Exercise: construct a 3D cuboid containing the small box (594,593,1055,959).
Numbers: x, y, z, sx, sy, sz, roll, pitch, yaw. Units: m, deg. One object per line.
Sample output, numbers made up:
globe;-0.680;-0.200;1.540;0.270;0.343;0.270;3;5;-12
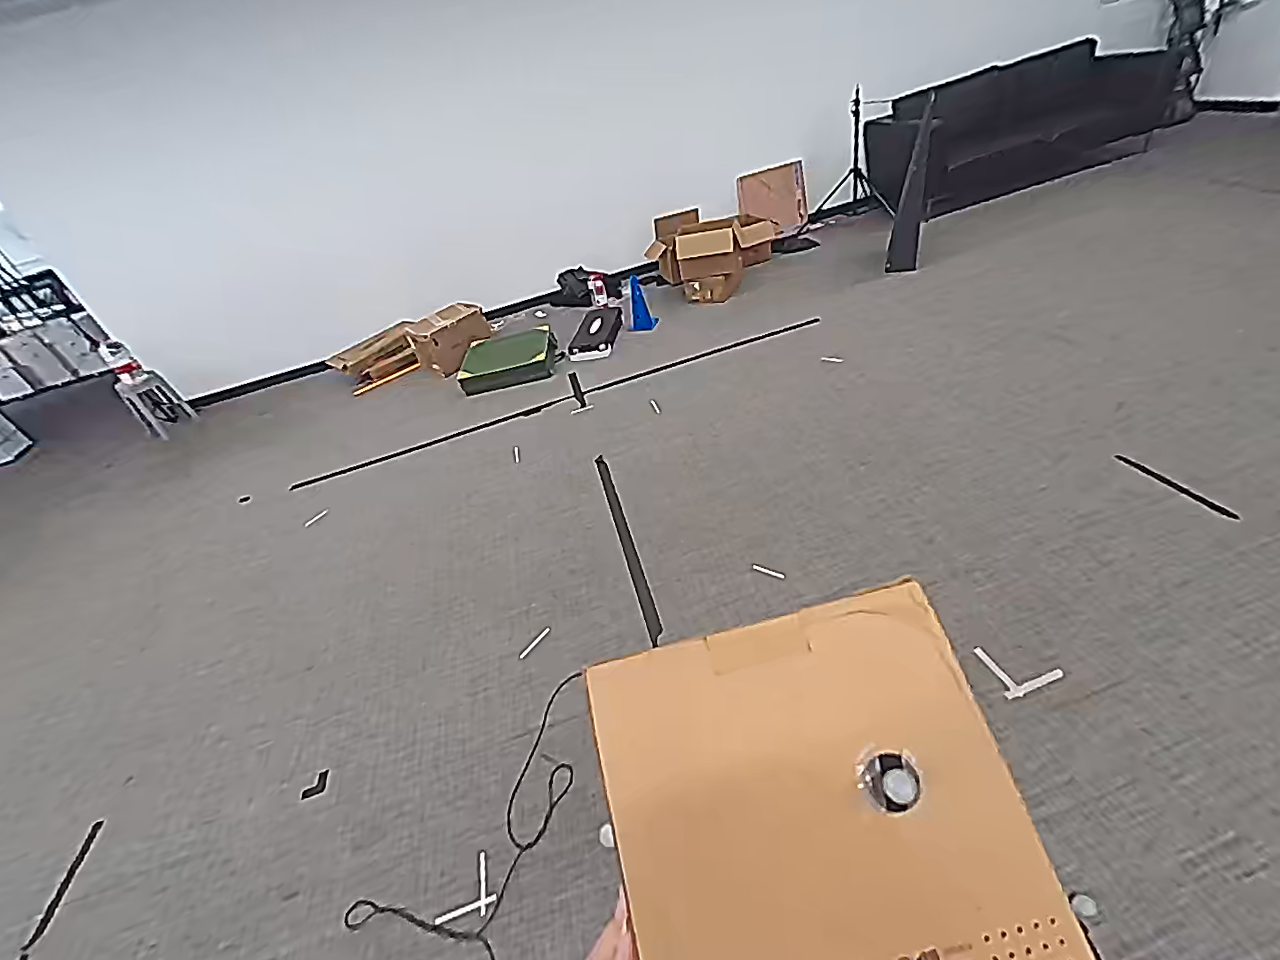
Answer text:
small box;0.084;0.182;0.316;0.168;0.179;0.176;-16;67;1
